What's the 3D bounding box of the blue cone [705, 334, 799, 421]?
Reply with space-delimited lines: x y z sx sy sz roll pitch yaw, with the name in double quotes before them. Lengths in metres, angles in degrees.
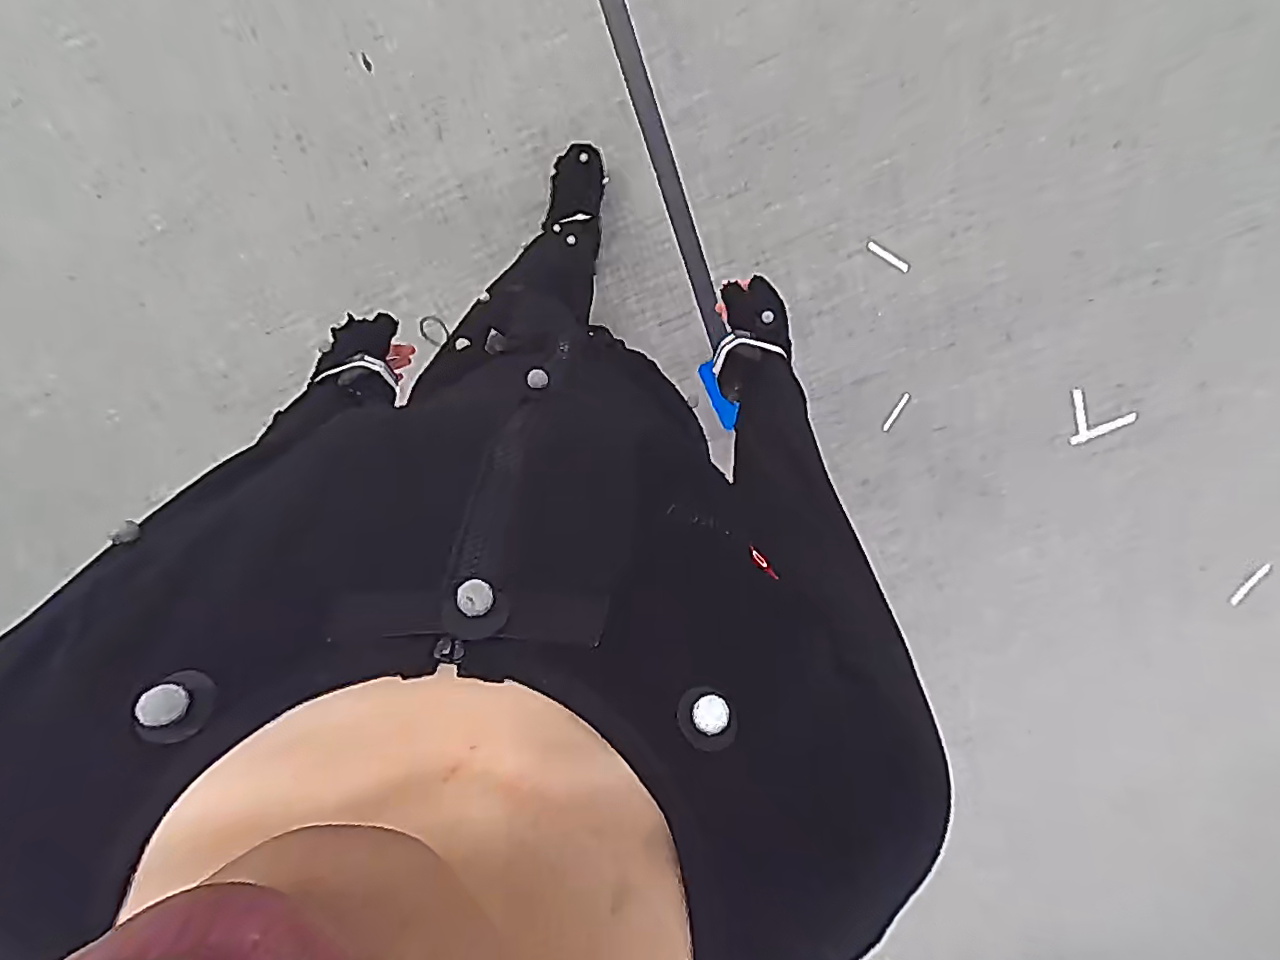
"blue cone" 0.286 -0.204 1.260 0.192 0.380 0.193 -24 110 7
